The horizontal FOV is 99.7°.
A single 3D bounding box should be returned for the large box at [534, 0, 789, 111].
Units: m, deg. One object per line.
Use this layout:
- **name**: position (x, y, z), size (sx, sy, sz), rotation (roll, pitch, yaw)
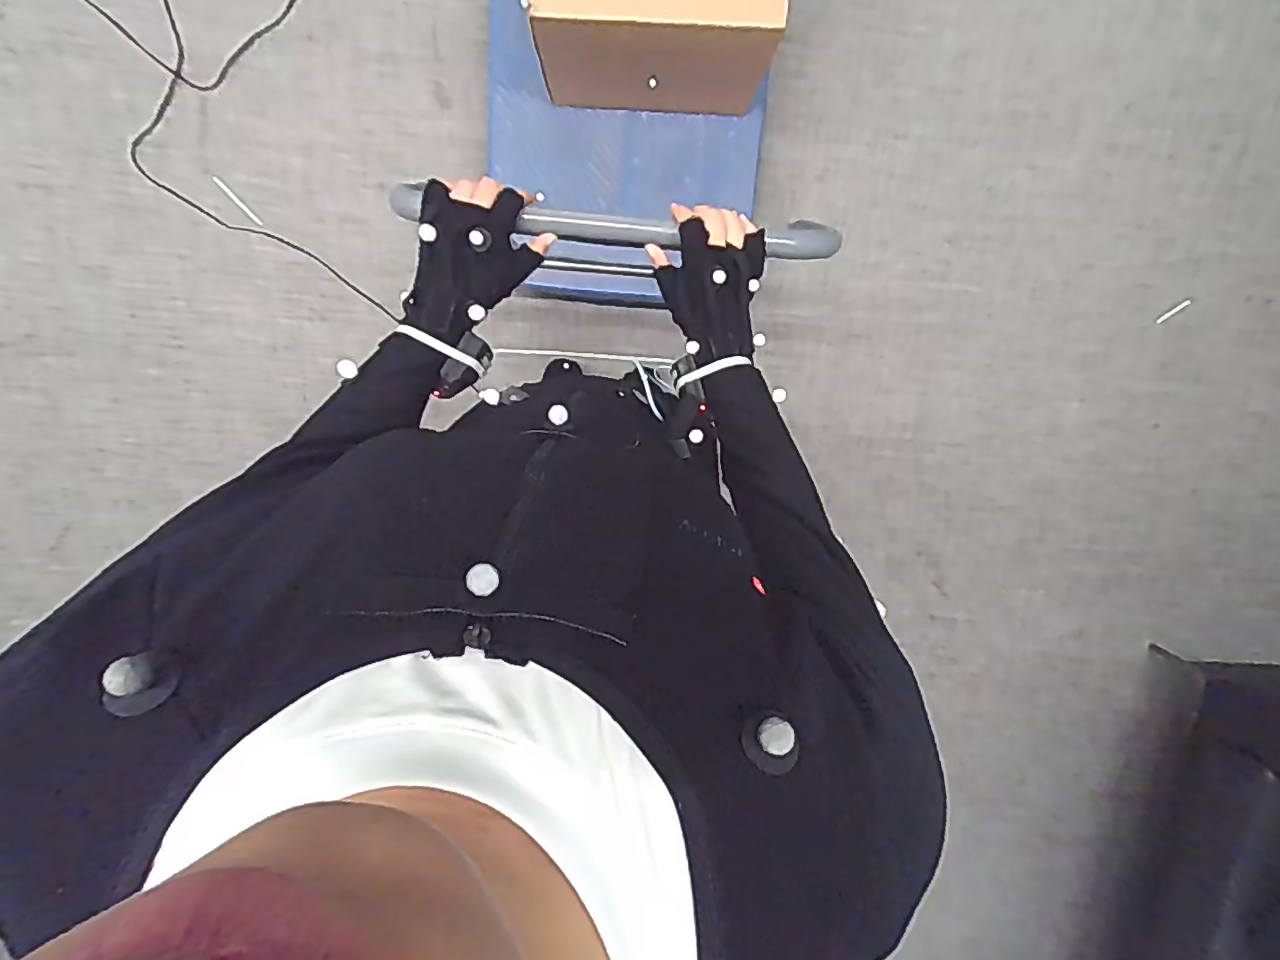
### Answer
- **large box**: position (0.033, -0.894, 0.959), size (0.408, 0.320, 0.320), rotation (1, 102, -2)
